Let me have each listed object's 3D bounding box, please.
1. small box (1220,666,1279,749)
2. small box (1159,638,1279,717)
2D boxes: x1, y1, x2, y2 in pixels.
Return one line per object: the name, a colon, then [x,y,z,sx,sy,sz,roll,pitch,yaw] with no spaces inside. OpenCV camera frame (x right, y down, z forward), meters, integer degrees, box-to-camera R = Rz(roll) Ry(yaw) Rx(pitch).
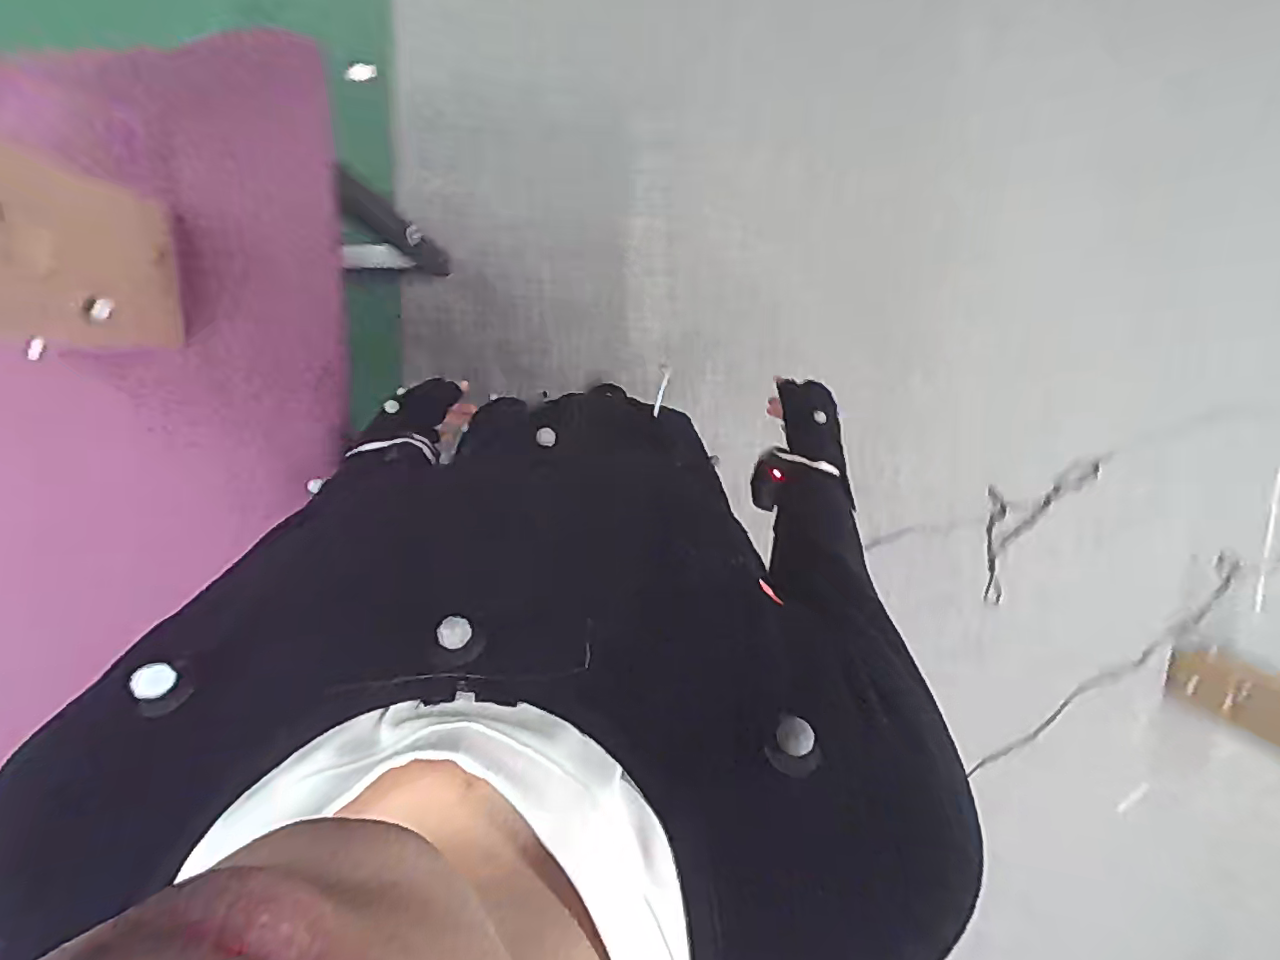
small box: [1.749,0.621,1.466,0.179,0.176,0.168,1,99,-5]
small box: [1.734,0.590,1.629,0.179,0.176,0.168,-2,103,-2]
